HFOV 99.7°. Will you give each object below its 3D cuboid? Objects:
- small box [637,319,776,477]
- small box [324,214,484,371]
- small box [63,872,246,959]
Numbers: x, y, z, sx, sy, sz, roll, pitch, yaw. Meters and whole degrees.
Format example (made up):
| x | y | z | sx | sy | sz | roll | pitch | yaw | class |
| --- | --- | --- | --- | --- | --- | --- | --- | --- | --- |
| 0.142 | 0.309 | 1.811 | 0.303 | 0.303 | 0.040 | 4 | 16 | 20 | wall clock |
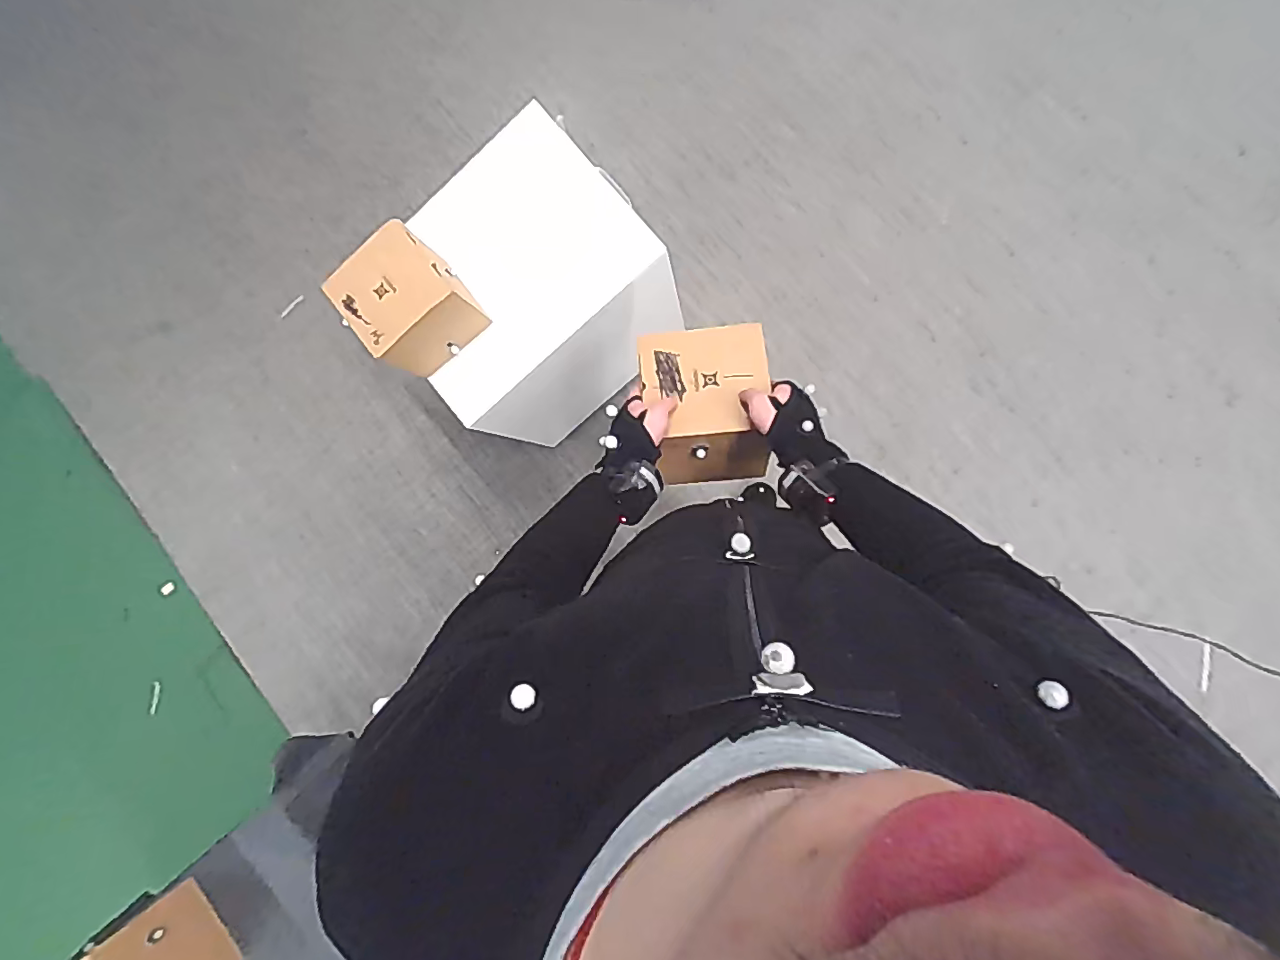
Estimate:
| x | y | z | sx | sy | sz | roll | pitch | yaw | class |
| --- | --- | --- | --- | --- | --- | --- | --- | --- | --- |
| 0.094 | -0.110 | 0.792 | 0.179 | 0.176 | 0.168 | -4 | 68 | 5 | small box |
| -0.405 | -0.323 | 0.968 | 0.179 | 0.176 | 0.168 | -38 | 85 | 5 | small box |
| -0.824 | 0.807 | 0.905 | 0.168 | 0.176 | 0.179 | -39 | 86 | 8 | small box |
